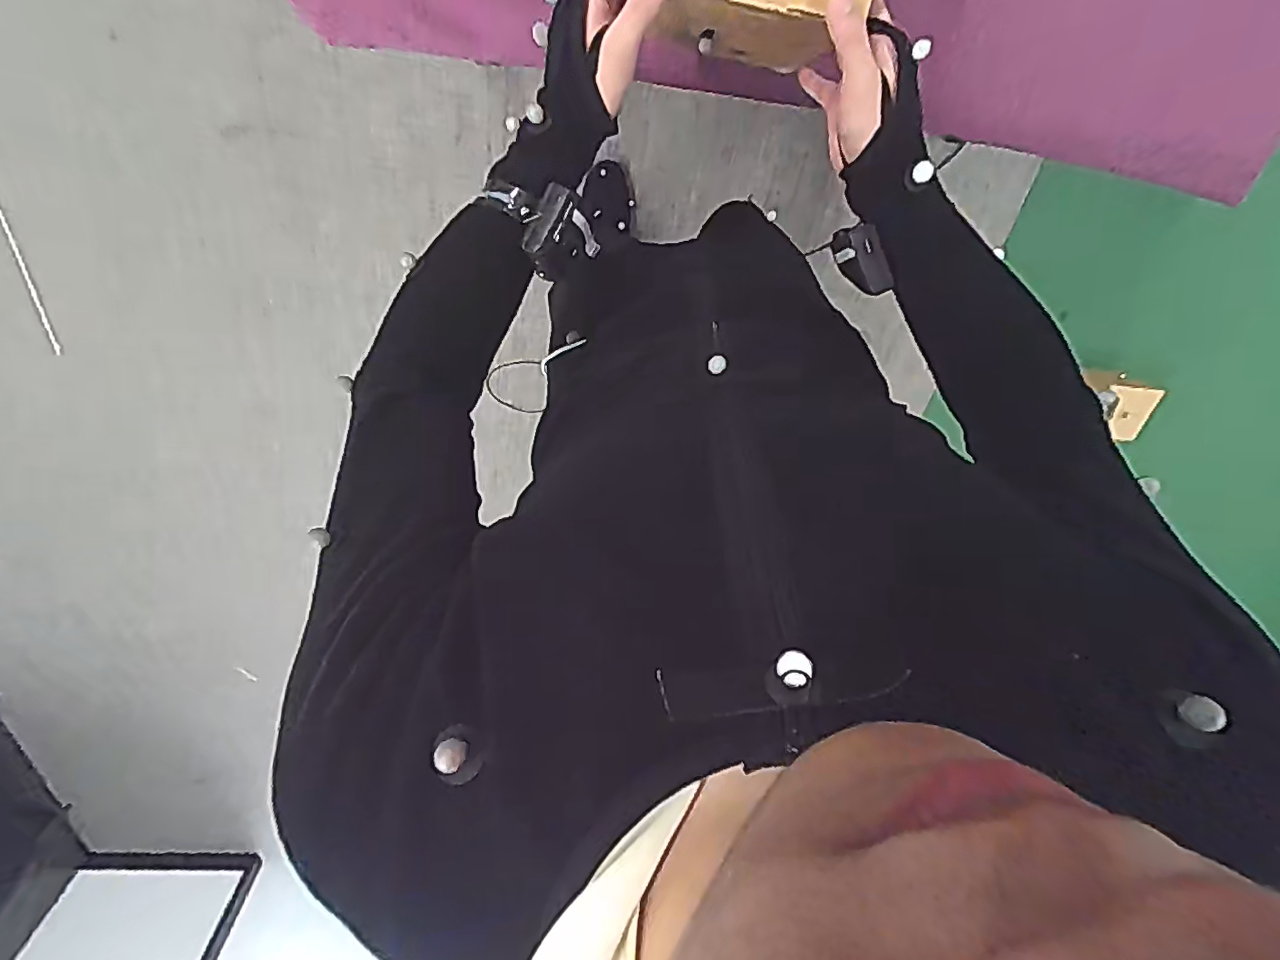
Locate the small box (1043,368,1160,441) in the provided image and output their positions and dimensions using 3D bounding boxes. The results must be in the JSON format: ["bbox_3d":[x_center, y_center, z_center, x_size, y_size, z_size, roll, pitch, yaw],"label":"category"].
[{"bbox_3d":[1.392,-0.234,1.646,0.179,0.176,0.168,4,121,-7],"label":"small box"}]

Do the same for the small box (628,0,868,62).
[{"bbox_3d":[0.086,-0.449,0.406,0.168,0.176,0.179,6,120,-10],"label":"small box"}]
